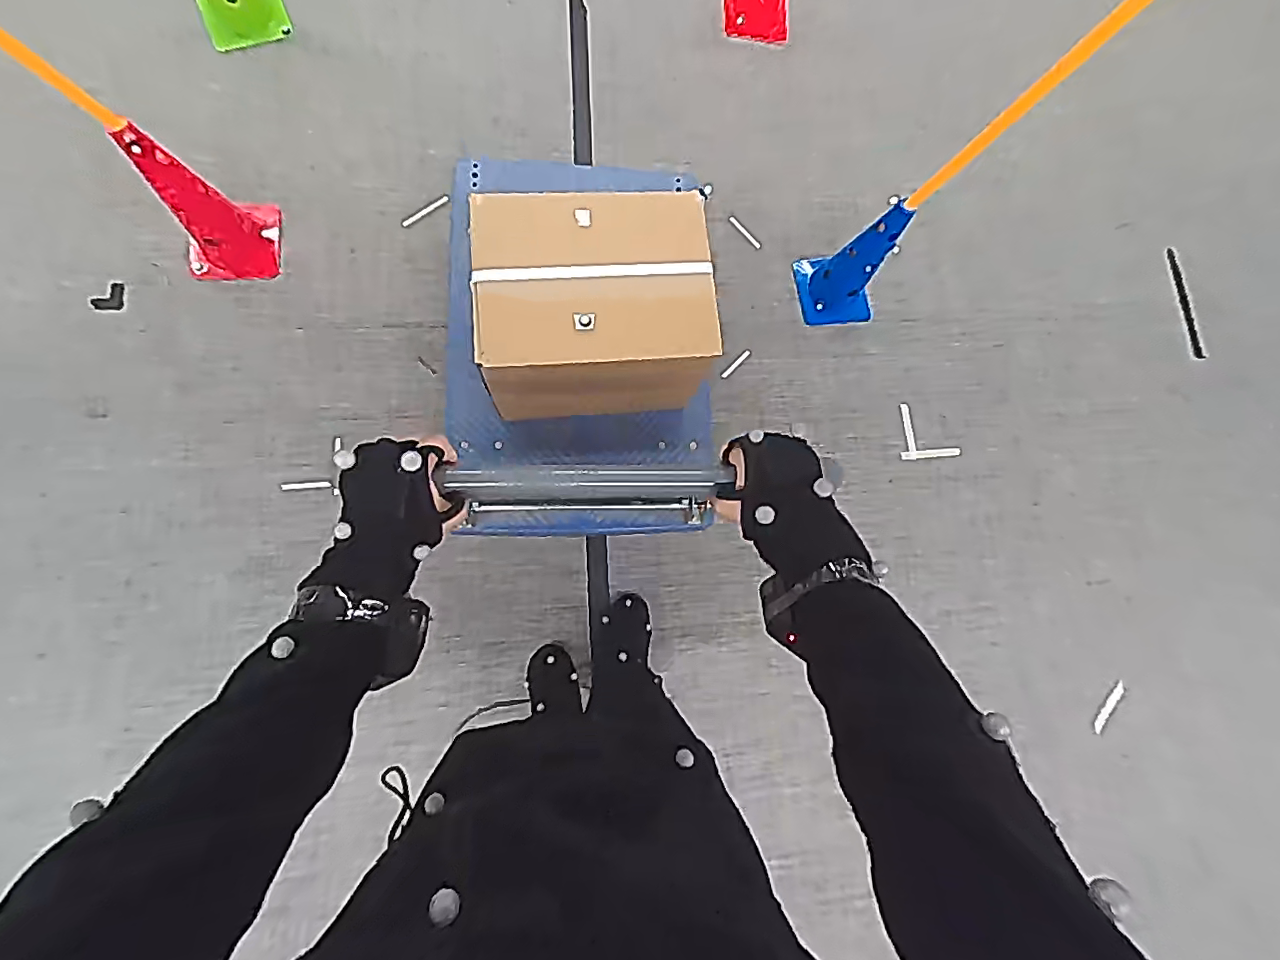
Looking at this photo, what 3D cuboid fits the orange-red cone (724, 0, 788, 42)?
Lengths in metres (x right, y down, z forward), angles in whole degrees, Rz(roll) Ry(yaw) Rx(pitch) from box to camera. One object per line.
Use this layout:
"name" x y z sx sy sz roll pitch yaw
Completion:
"orange-red cone" 0.378 -1.454 1.474 0.199 0.360 0.198 4 80 -8

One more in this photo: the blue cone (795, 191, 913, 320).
"blue cone" 0.559 -0.569 1.355 0.193 0.380 0.192 -6 80 -9
